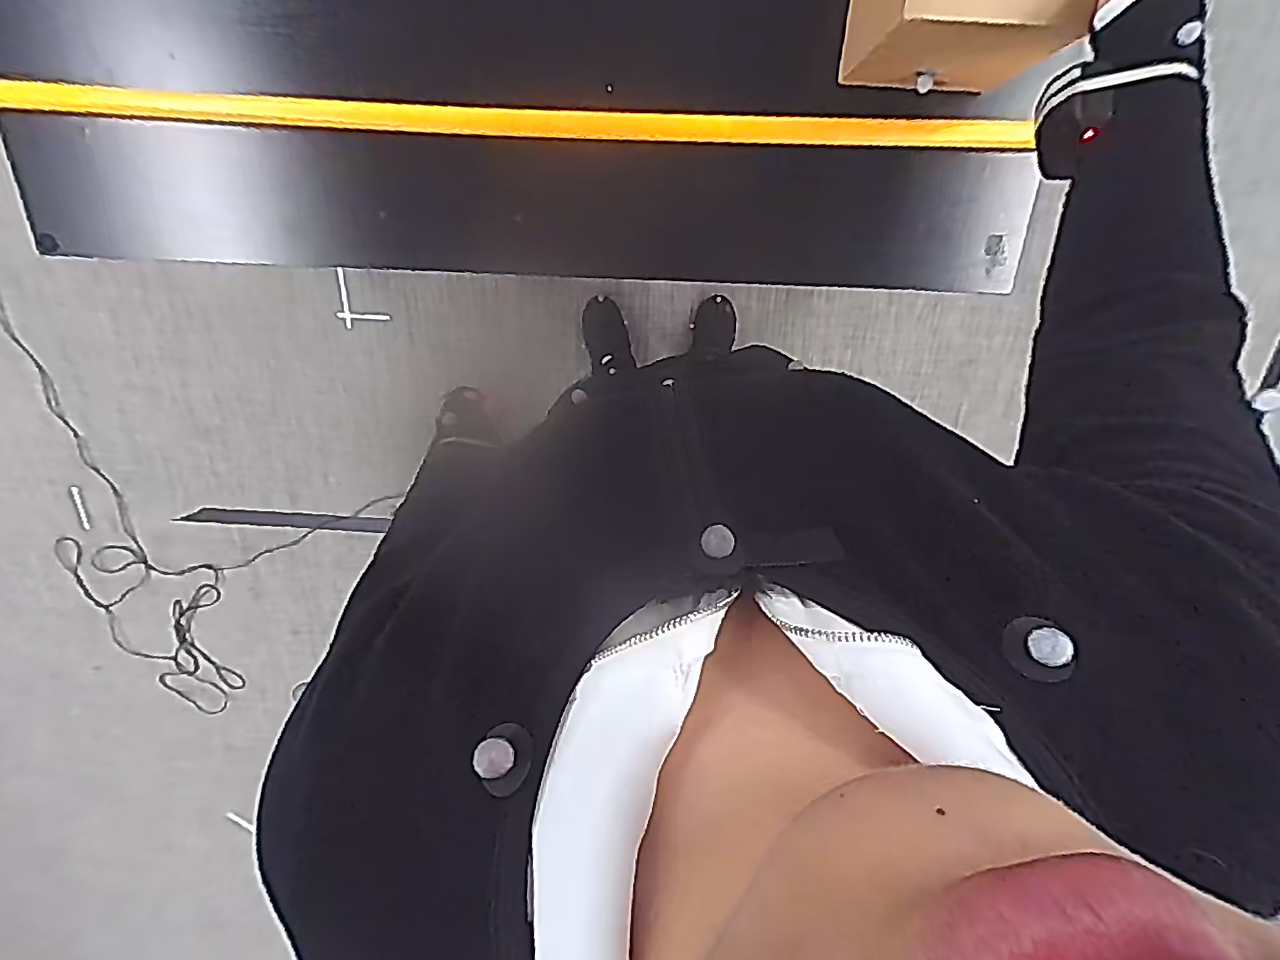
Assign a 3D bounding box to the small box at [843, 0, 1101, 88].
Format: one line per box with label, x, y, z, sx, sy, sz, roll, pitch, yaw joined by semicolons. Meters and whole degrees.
small box;0.305;-0.495;0.495;0.168;0.176;0.179;4;111;0
